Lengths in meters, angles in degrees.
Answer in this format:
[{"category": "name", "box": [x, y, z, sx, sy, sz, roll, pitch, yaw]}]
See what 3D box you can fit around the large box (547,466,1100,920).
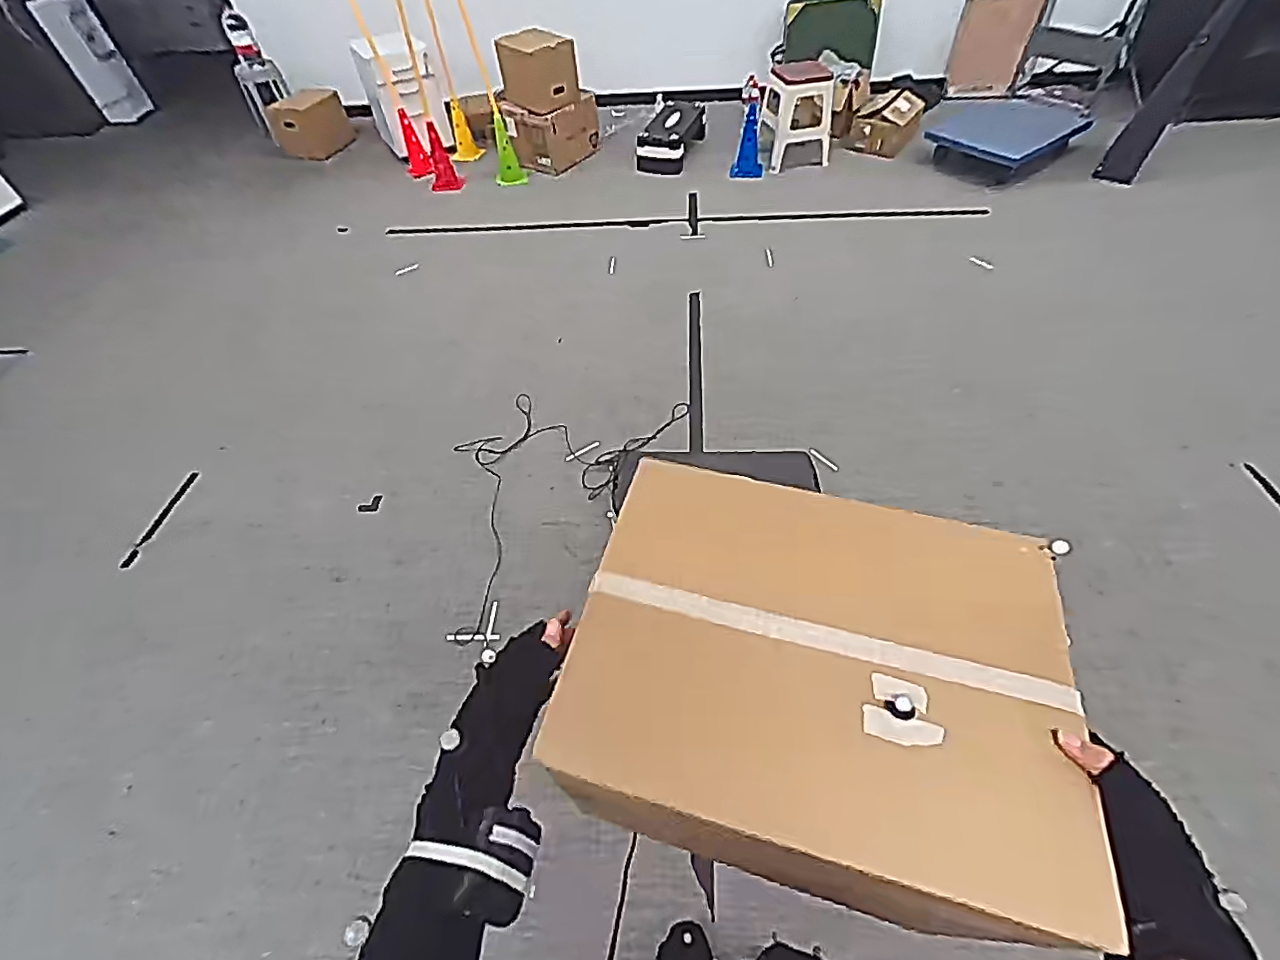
[{"category": "large box", "box": [0.157, 0.228, 0.596, 0.408, 0.320, 0.320, 13, 54, 12]}]
